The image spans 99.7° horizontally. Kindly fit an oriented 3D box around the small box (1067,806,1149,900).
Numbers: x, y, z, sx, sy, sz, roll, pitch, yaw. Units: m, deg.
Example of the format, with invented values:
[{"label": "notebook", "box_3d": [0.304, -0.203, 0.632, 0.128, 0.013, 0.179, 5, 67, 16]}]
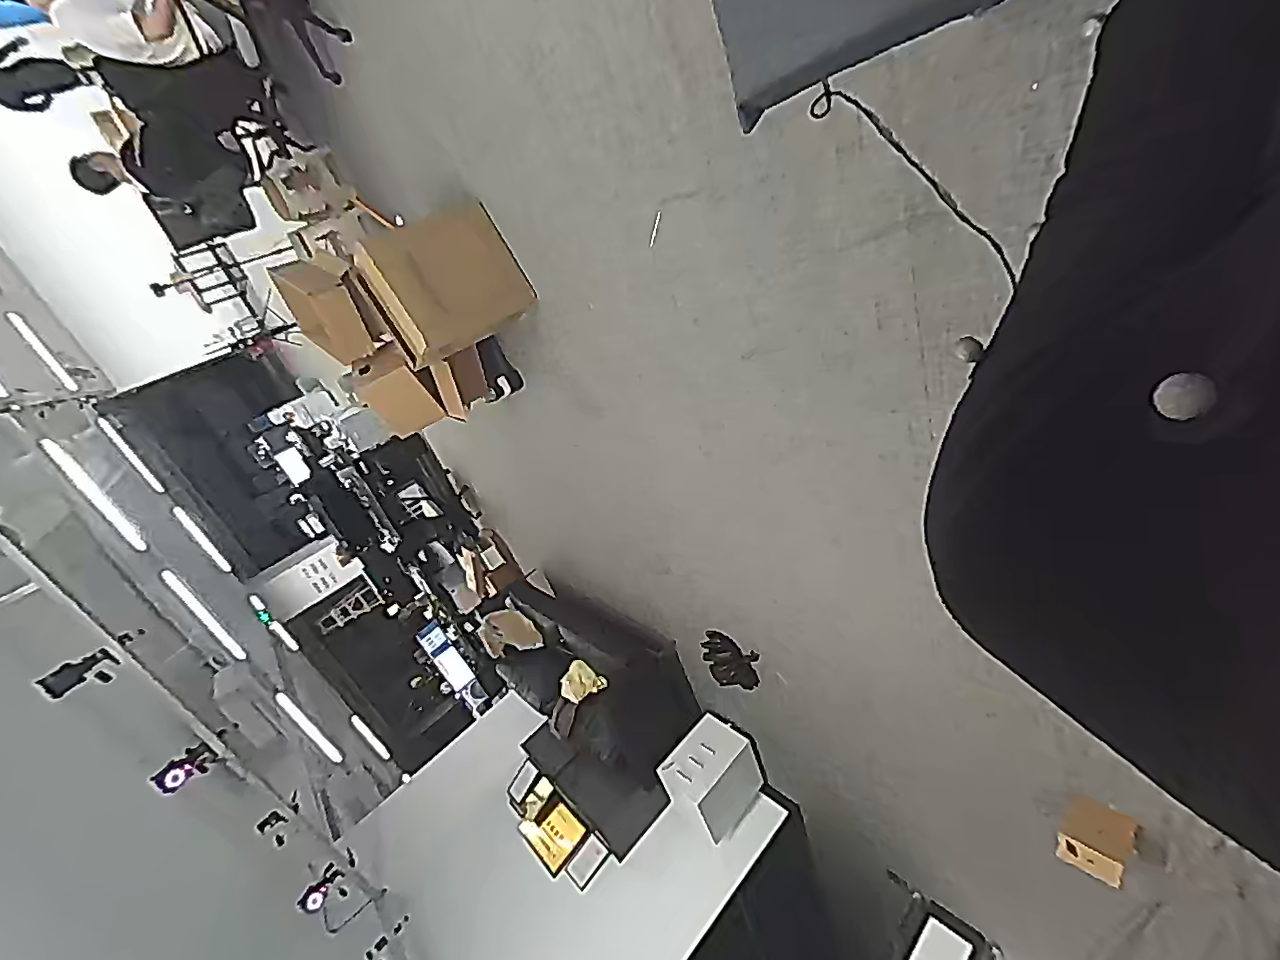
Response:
[{"label": "small box", "box_3d": [1.590, 1.254, 1.840, 0.179, 0.176, 0.168, 12, 130, 51]}]
